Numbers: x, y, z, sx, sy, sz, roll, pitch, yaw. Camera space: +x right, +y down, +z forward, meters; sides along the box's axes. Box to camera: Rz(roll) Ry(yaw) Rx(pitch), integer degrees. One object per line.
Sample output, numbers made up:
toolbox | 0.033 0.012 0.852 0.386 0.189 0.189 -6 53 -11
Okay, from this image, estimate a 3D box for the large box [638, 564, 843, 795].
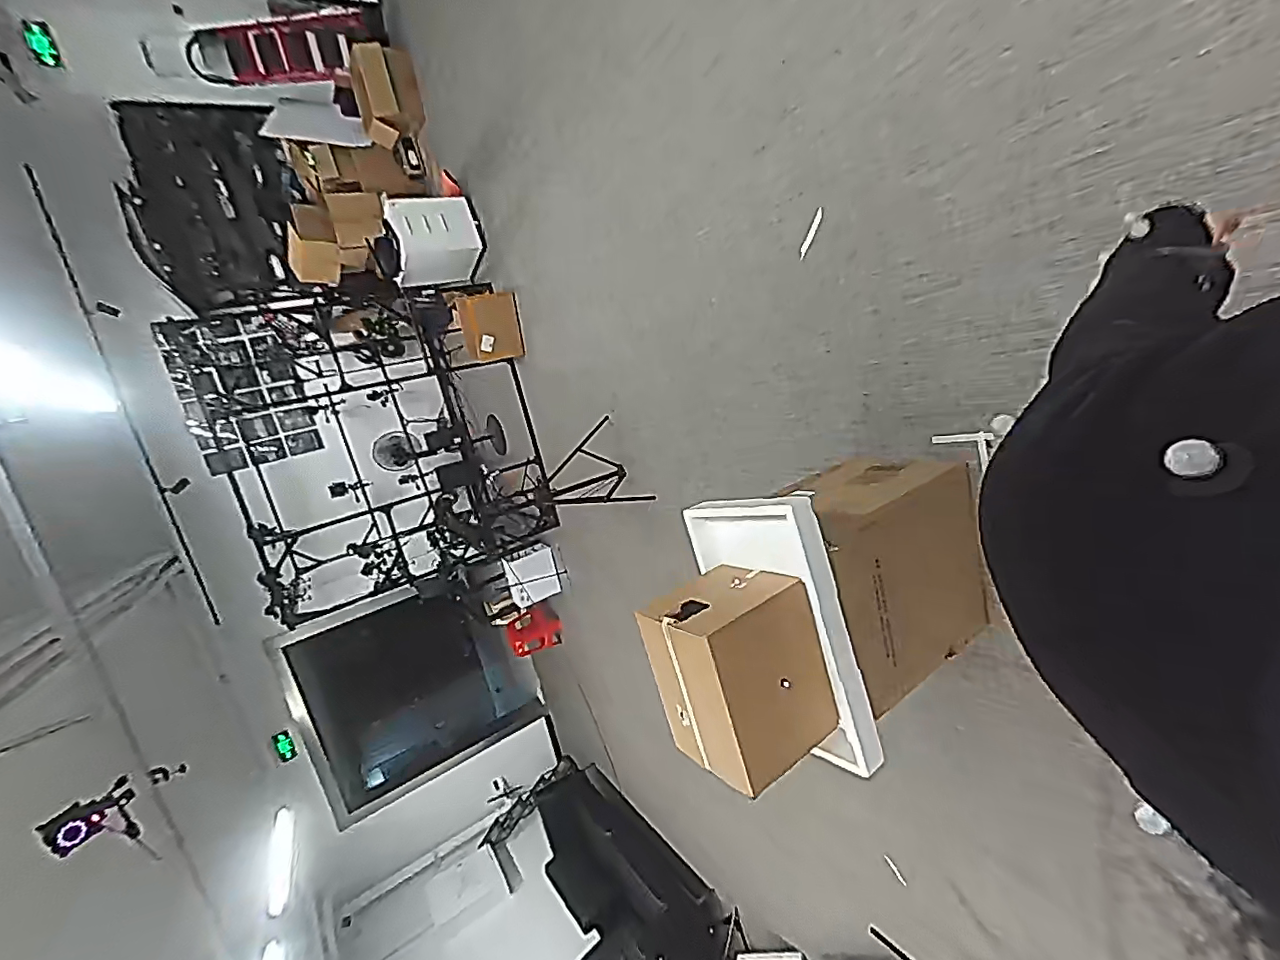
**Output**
large box | 0.251 0.462 1.360 0.320 0.320 0.408 -2 108 61
